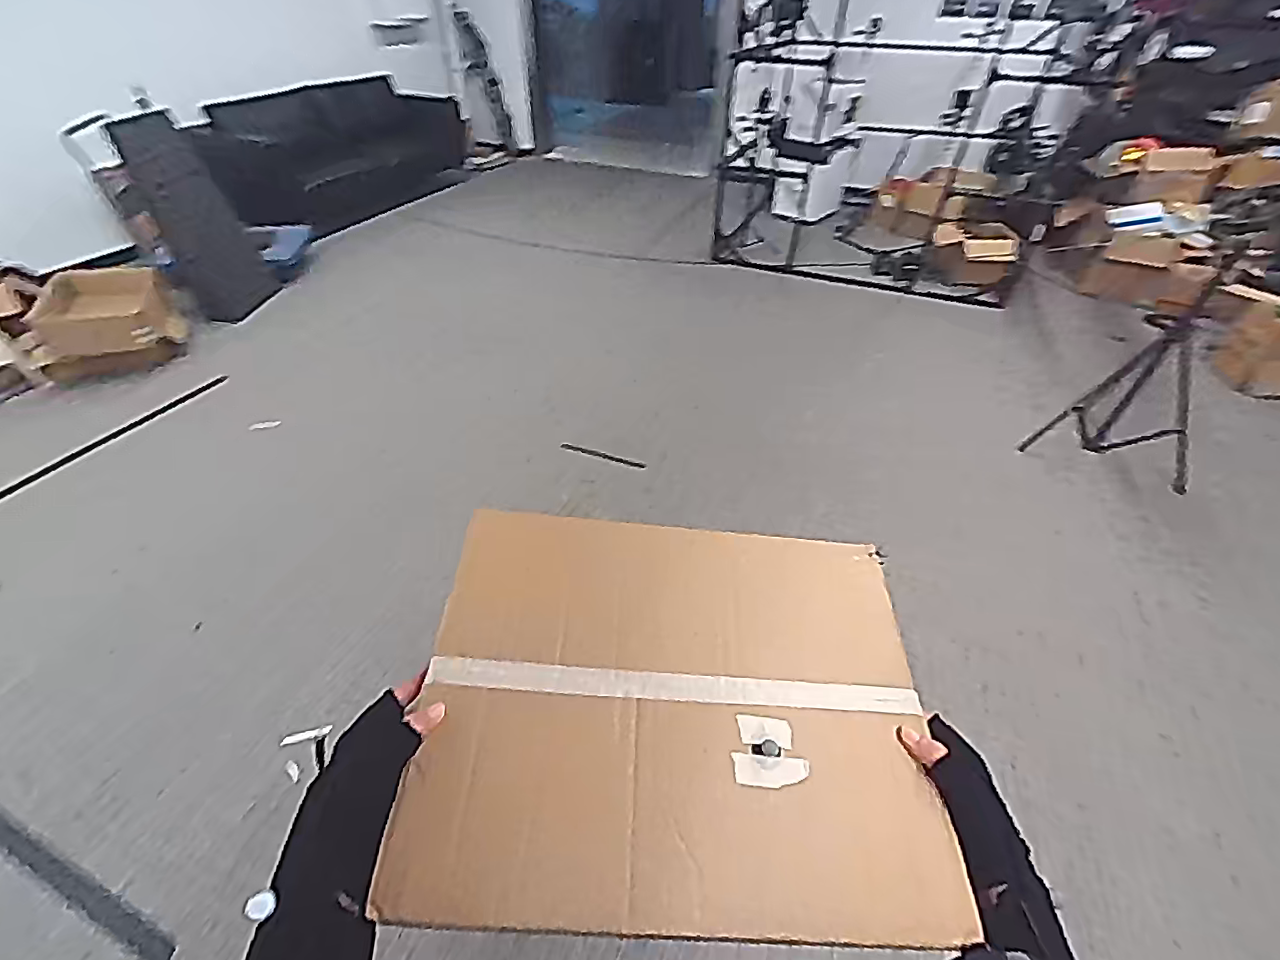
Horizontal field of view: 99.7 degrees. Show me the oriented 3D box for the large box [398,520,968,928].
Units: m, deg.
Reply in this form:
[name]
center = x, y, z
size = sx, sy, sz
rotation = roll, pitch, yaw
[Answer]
[large box]
center = 0.022, 0.266, 0.573
size = 0.408, 0.320, 0.320
rotation = 5, 52, -3
